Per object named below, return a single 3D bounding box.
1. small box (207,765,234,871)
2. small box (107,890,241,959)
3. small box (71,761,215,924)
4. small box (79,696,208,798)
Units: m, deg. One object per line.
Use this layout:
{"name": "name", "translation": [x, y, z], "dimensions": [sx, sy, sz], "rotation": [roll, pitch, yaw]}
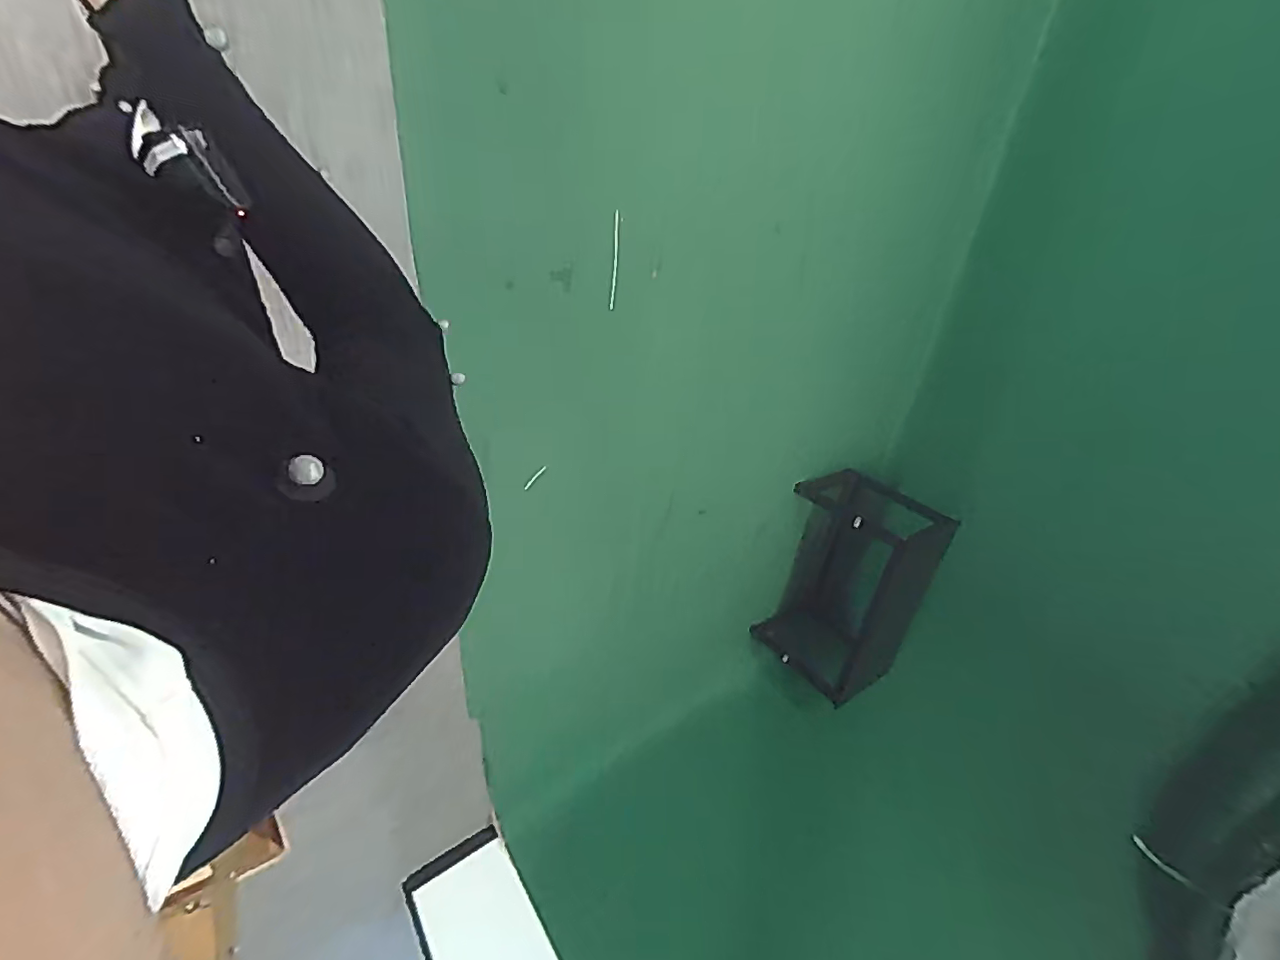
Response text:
{"name": "small box", "translation": [-1.069, 0.815, 1.262], "dimensions": [0.168, 0.176, 0.179], "rotation": [-14, 123, -33]}
{"name": "small box", "translation": [-0.876, 0.932, 1.022], "dimensions": [0.168, 0.176, 0.179], "rotation": [-16, 125, -32]}
{"name": "small box", "translation": [-0.936, 0.672, 1.030], "dimensions": [0.168, 0.176, 0.179], "rotation": [-13, 125, -35]}
{"name": "small box", "translation": [-1.032, 0.597, 1.138], "dimensions": [0.168, 0.176, 0.179], "rotation": [-13, 126, -35]}
